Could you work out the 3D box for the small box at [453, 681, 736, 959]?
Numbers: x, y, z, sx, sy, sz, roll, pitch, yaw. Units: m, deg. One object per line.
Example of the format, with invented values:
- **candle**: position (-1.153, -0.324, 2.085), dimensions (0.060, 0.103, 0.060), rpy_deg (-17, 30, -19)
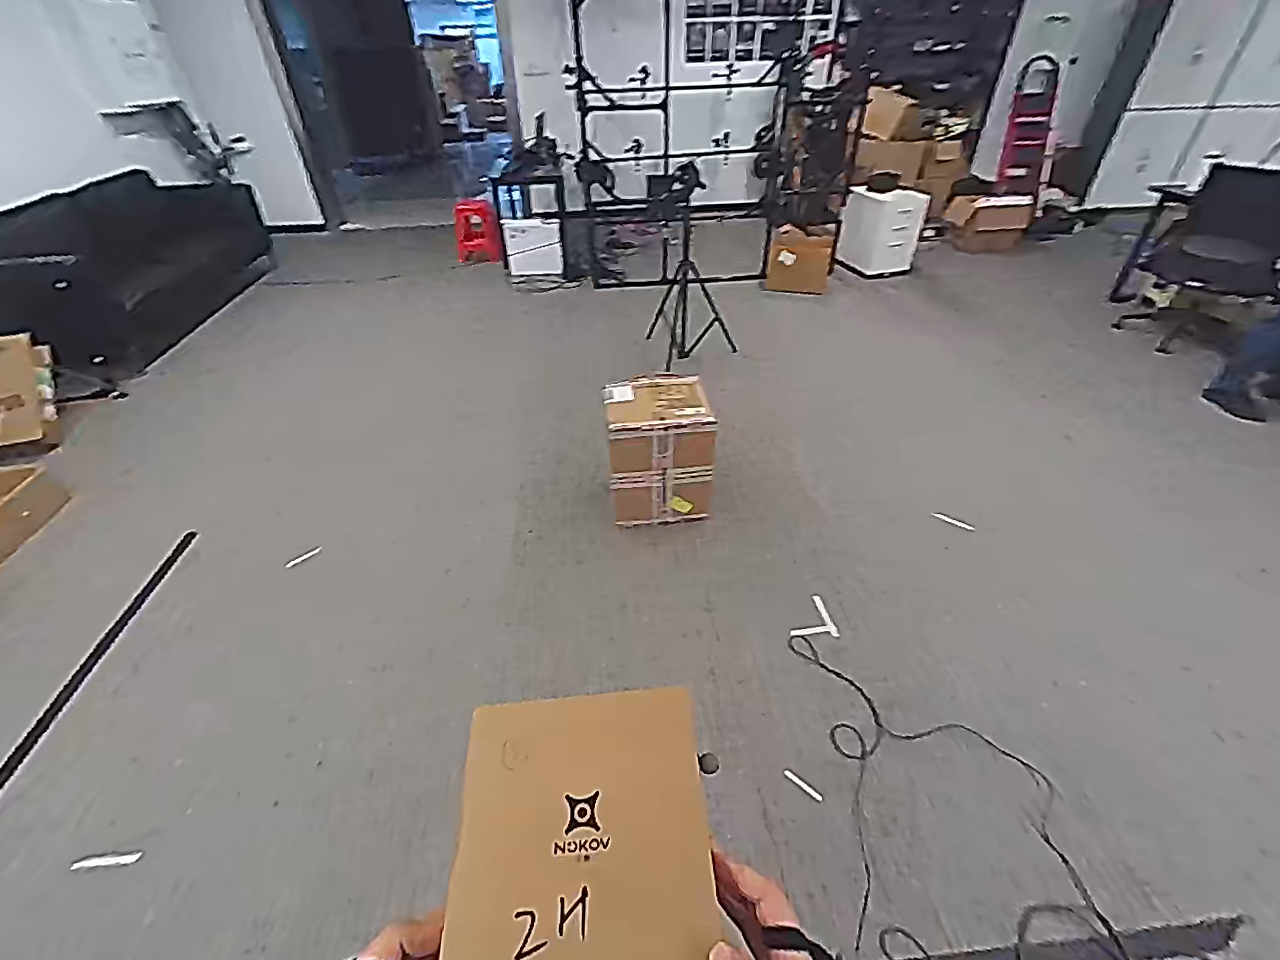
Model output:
- **small box**: position (-0.027, 0.280, 0.417), dimensions (0.168, 0.176, 0.179), rpy_deg (-6, 46, 0)
